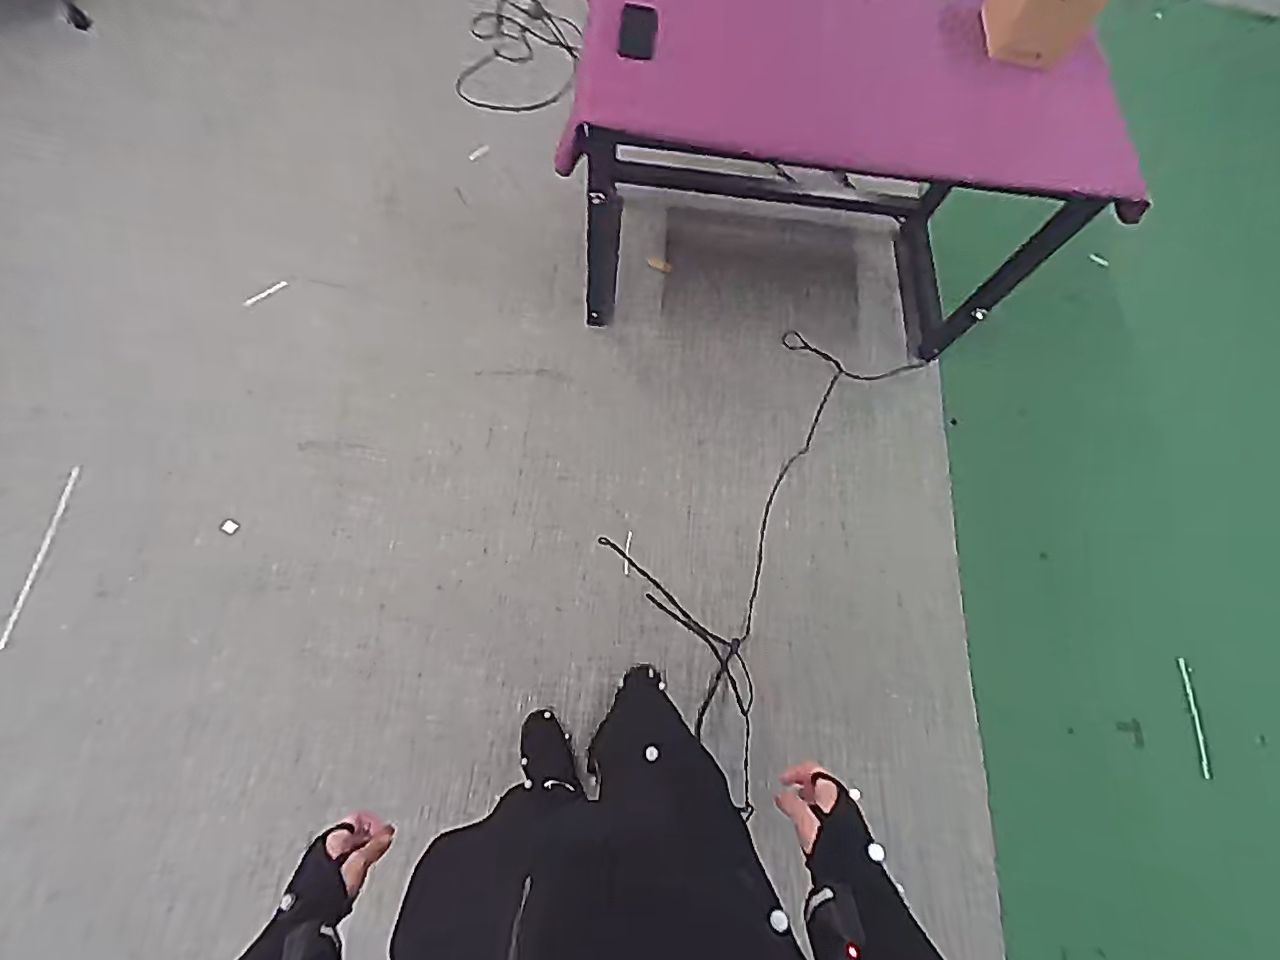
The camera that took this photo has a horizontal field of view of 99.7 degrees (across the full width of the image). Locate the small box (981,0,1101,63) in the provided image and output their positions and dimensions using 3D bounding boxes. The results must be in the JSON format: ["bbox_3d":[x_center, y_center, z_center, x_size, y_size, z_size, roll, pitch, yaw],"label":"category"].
[{"bbox_3d":[0.888,-1.076,1.195,0.168,0.176,0.179,5,71,-2],"label":"small box"}]
